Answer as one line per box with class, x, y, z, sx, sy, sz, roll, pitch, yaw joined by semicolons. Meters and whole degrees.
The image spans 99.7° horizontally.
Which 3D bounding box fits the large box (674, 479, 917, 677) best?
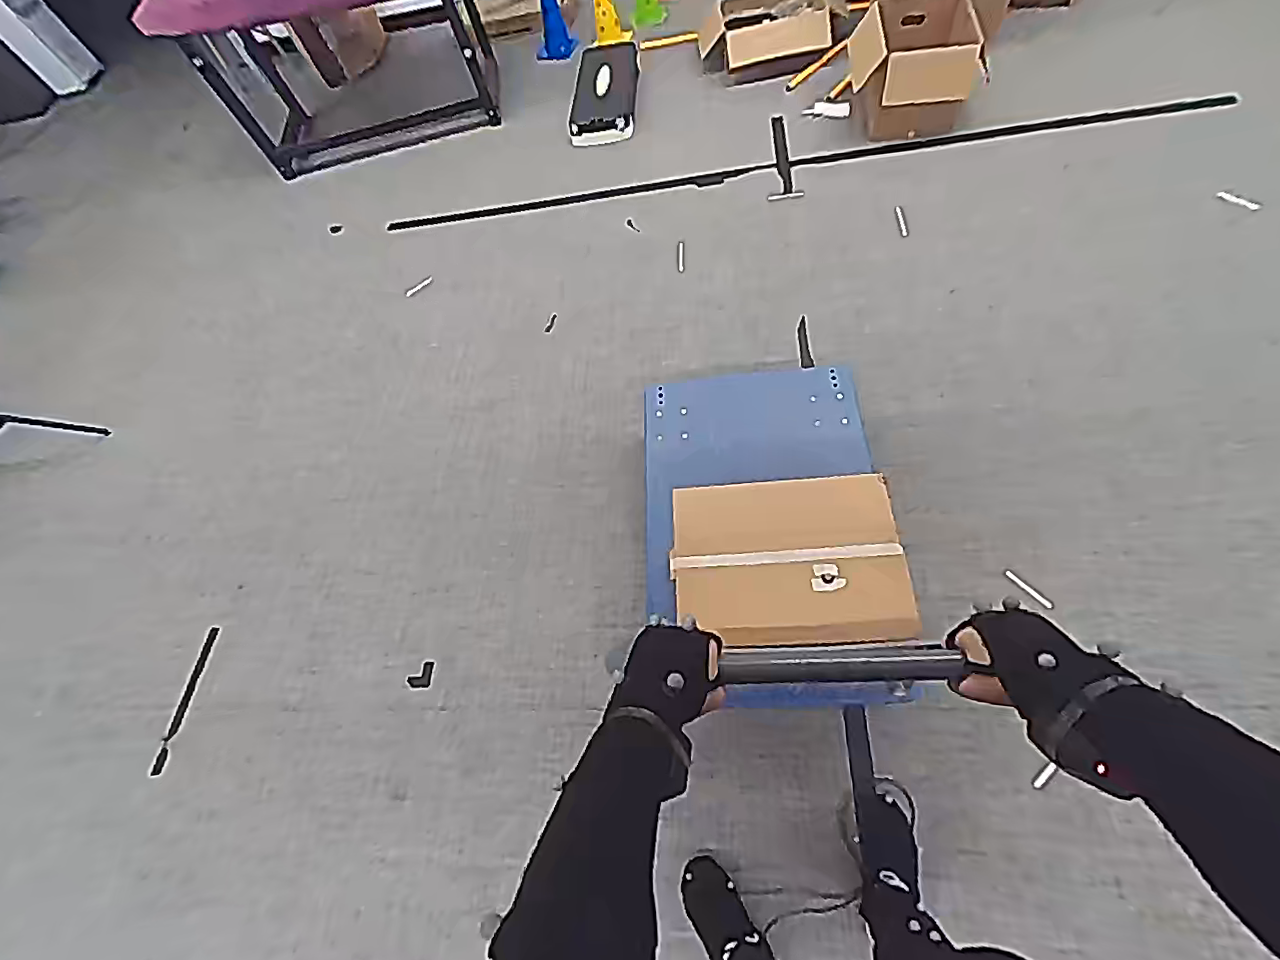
large box;0.288;0.220;1.128;0.408;0.320;0.320;-5;63;7
